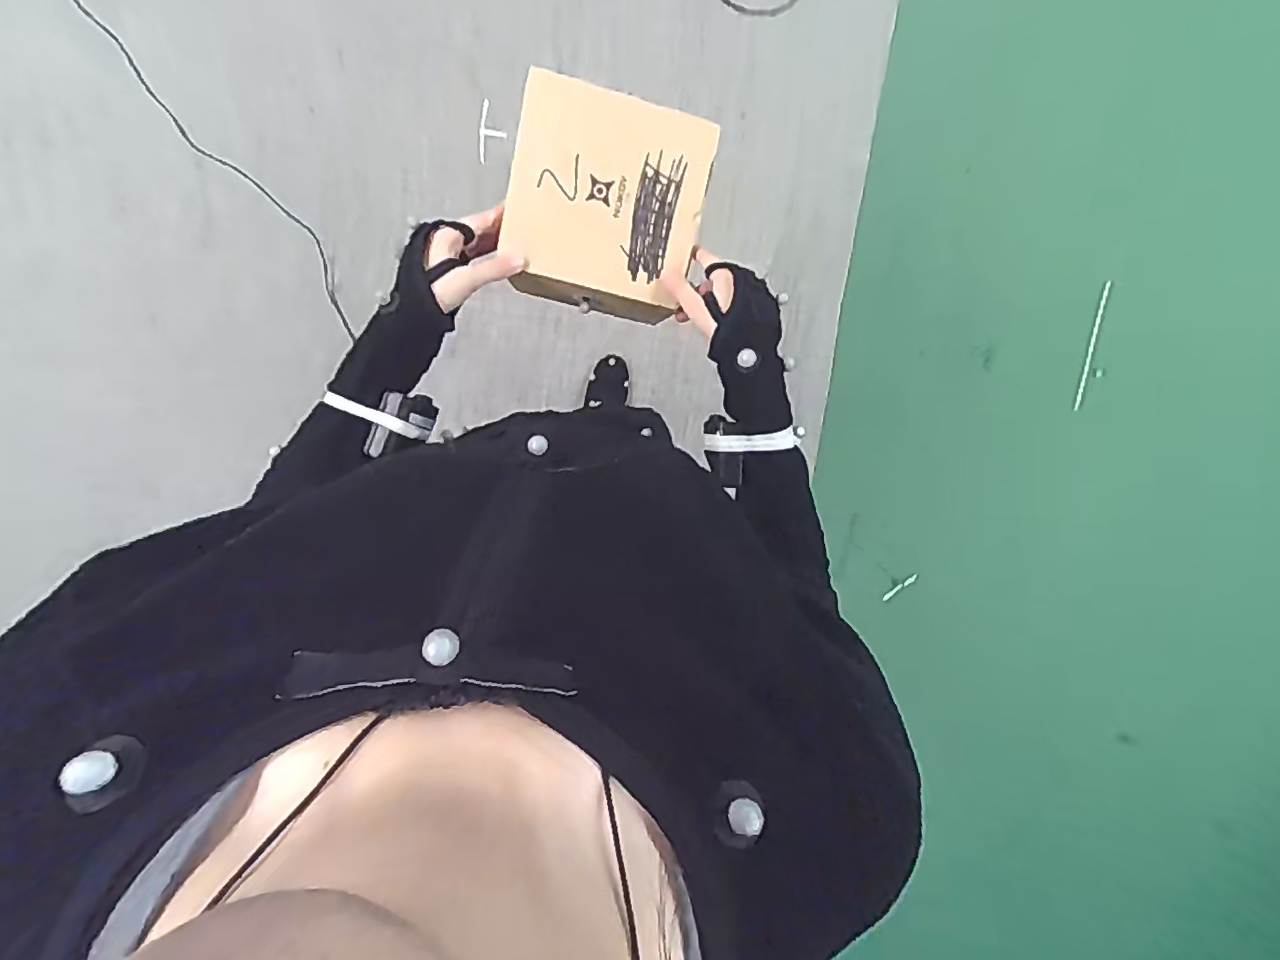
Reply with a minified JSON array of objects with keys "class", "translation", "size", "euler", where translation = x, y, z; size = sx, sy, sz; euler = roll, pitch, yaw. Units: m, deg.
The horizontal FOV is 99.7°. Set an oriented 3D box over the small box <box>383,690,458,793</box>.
[{"class":"small box","translation":[-0.615,0.716,1.490],"size":[0.168,0.176,0.179],"euler":[16,97,-9]}]
